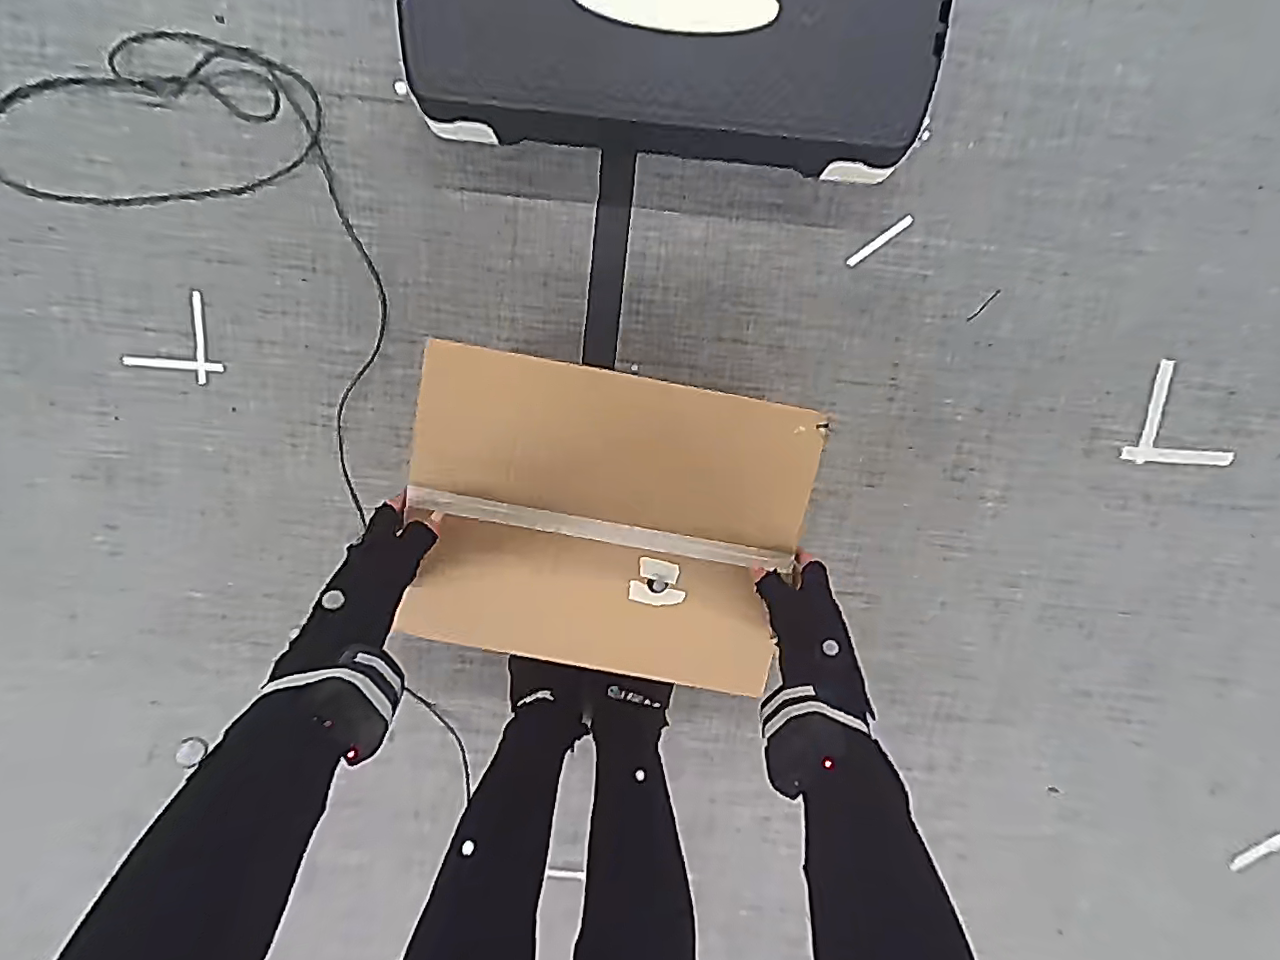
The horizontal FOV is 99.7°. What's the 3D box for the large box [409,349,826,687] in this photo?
[{"bbox_3d":[-0.032,0.027,0.710,0.408,0.320,0.320,10,99,-1],"label":"large box"}]
